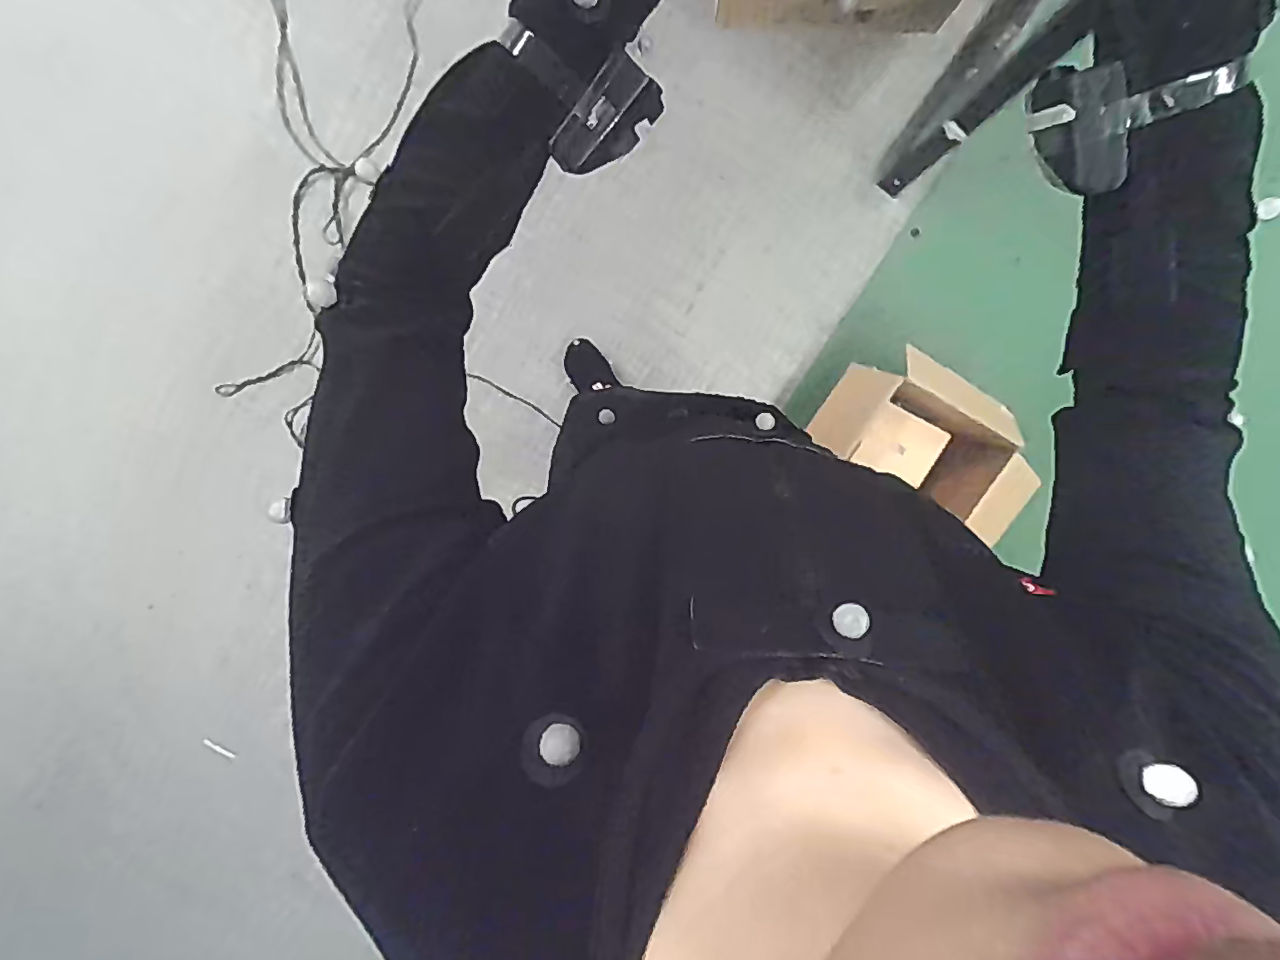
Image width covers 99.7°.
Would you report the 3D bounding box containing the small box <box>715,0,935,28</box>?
[{"bbox_3d":[0.128,-0.407,0.304,0.168,0.176,0.179,2,102,3],"label":"small box"}]
